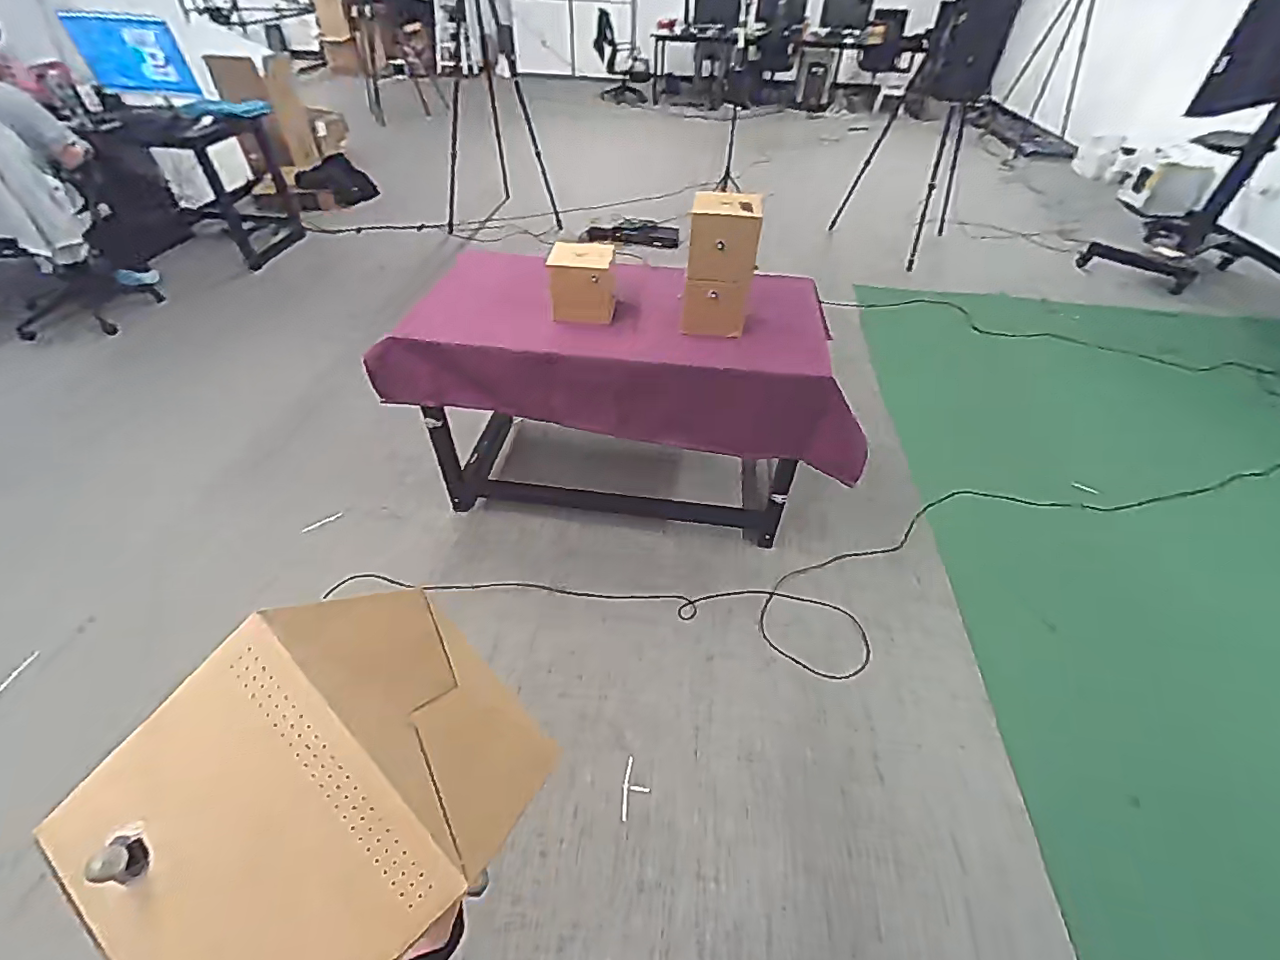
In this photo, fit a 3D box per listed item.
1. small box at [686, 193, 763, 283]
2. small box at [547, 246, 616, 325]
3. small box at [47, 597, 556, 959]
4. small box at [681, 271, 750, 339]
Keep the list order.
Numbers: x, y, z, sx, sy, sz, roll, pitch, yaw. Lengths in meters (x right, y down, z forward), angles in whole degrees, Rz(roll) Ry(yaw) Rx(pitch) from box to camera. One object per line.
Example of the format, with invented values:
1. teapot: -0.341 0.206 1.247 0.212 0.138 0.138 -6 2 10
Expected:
1. small box: 0.221 -0.632 1.420 0.179 0.176 0.168 6 45 6
2. small box: -0.164 -0.567 1.578 0.179 0.176 0.168 4 44 1
3. small box: -0.185 0.197 0.346 0.176 0.168 0.179 -45 80 0
4. small box: 0.214 -0.517 1.536 0.179 0.176 0.168 7 45 5
